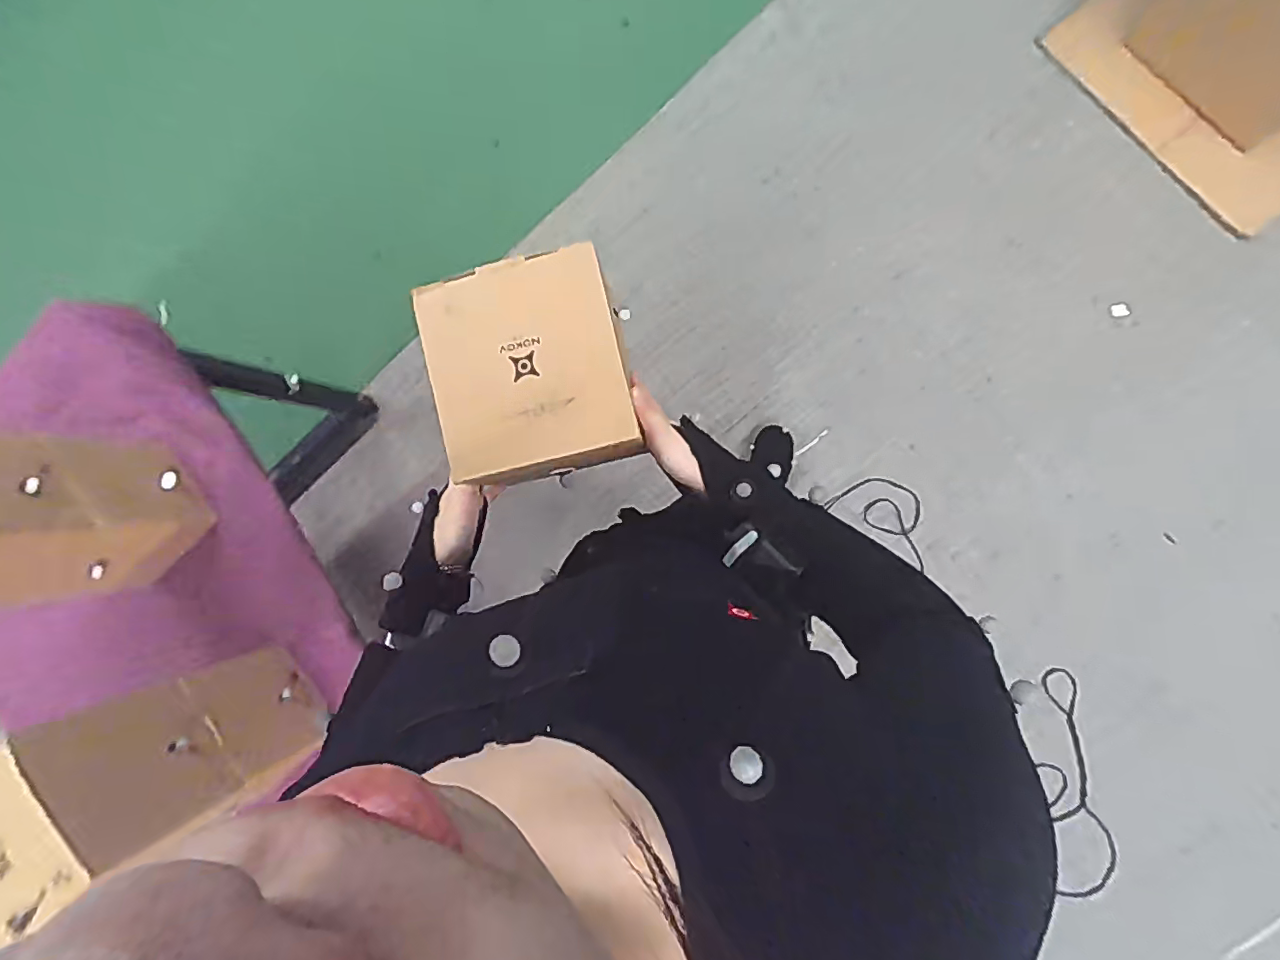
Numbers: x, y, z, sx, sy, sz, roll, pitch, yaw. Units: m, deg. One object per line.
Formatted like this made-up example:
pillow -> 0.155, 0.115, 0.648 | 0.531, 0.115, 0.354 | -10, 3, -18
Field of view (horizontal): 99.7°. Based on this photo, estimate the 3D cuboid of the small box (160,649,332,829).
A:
small box -> -0.597, 0.378, 0.779 | 0.179, 0.176, 0.168 | -42, 84, 7

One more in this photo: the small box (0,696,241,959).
small box -> -0.622, 0.375, 0.618 | 0.168, 0.176, 0.179 | -43, 82, 8
